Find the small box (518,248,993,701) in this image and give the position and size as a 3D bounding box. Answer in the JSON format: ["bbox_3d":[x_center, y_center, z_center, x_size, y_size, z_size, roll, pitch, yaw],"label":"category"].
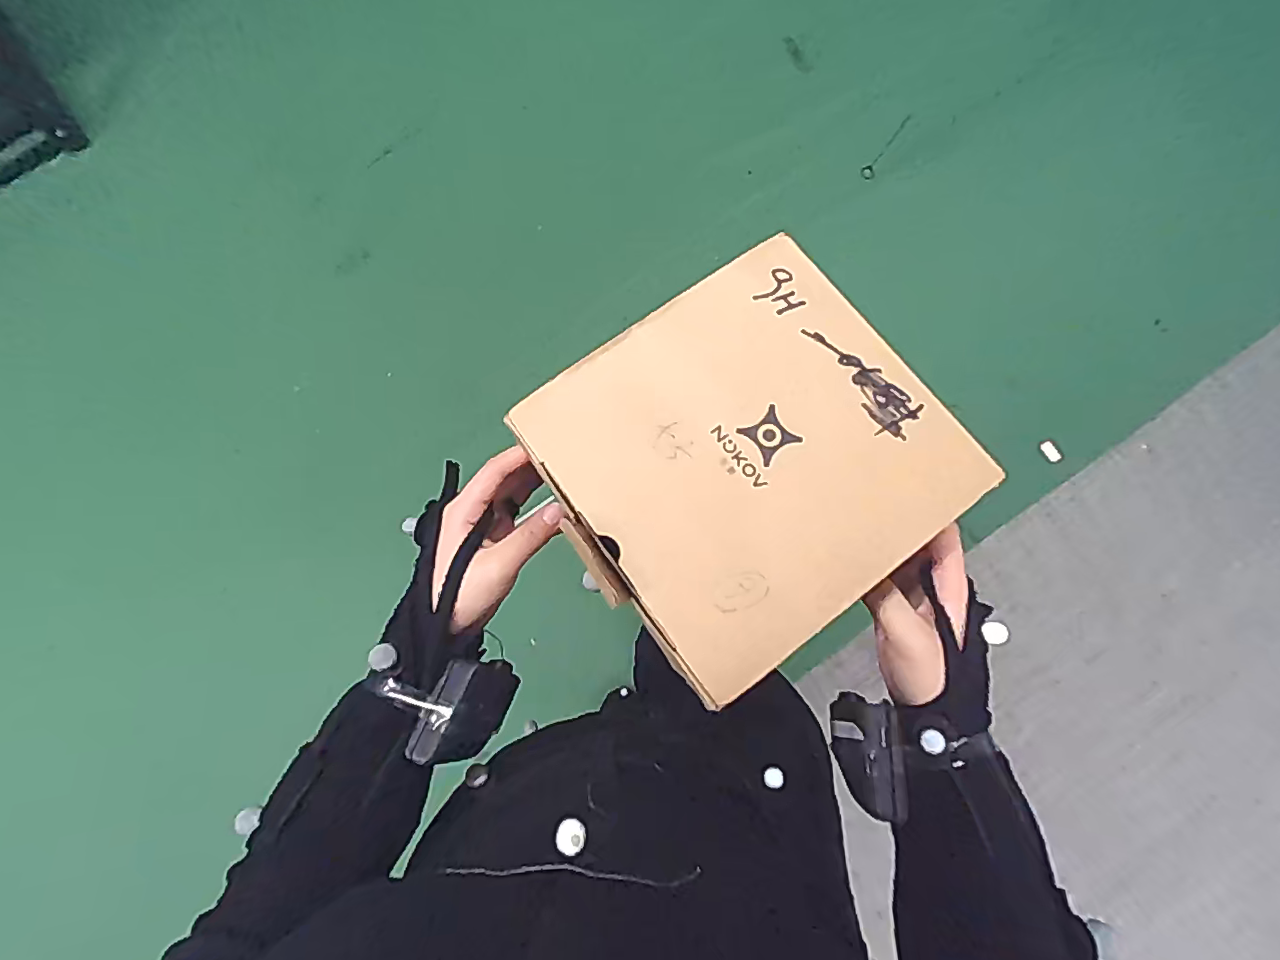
[{"bbox_3d":[0.054,0.006,0.339,0.179,0.176,0.168,-35,80,-8],"label":"small box"}]
